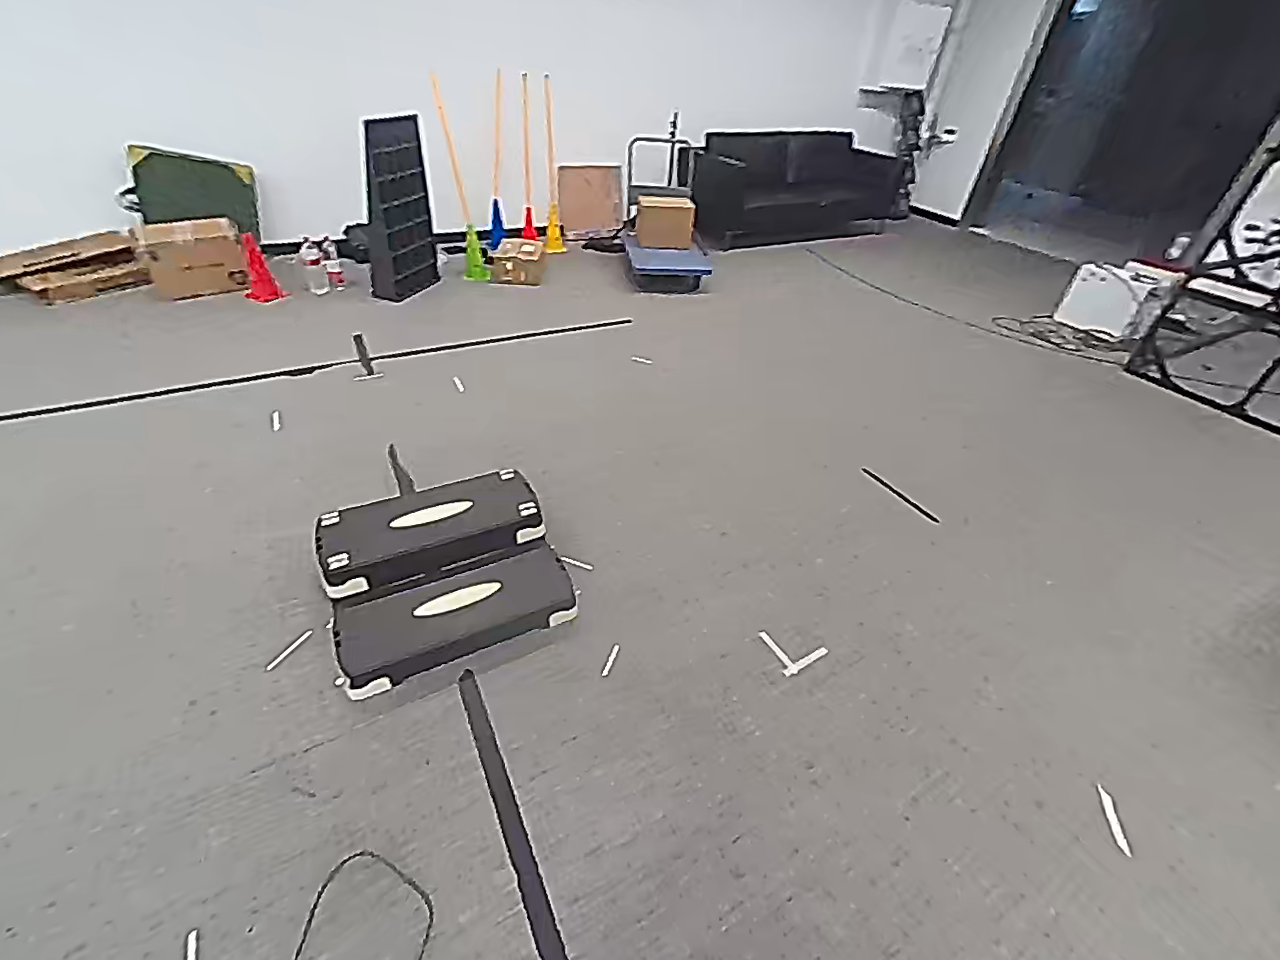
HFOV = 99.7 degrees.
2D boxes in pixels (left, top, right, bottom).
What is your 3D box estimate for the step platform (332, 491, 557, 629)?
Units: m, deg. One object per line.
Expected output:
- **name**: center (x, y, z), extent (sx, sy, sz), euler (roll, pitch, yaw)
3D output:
- **step platform**: center (-0.628, 0.241, 1.791), extent (0.684, 0.204, 0.286), euler (-12, 40, -22)
